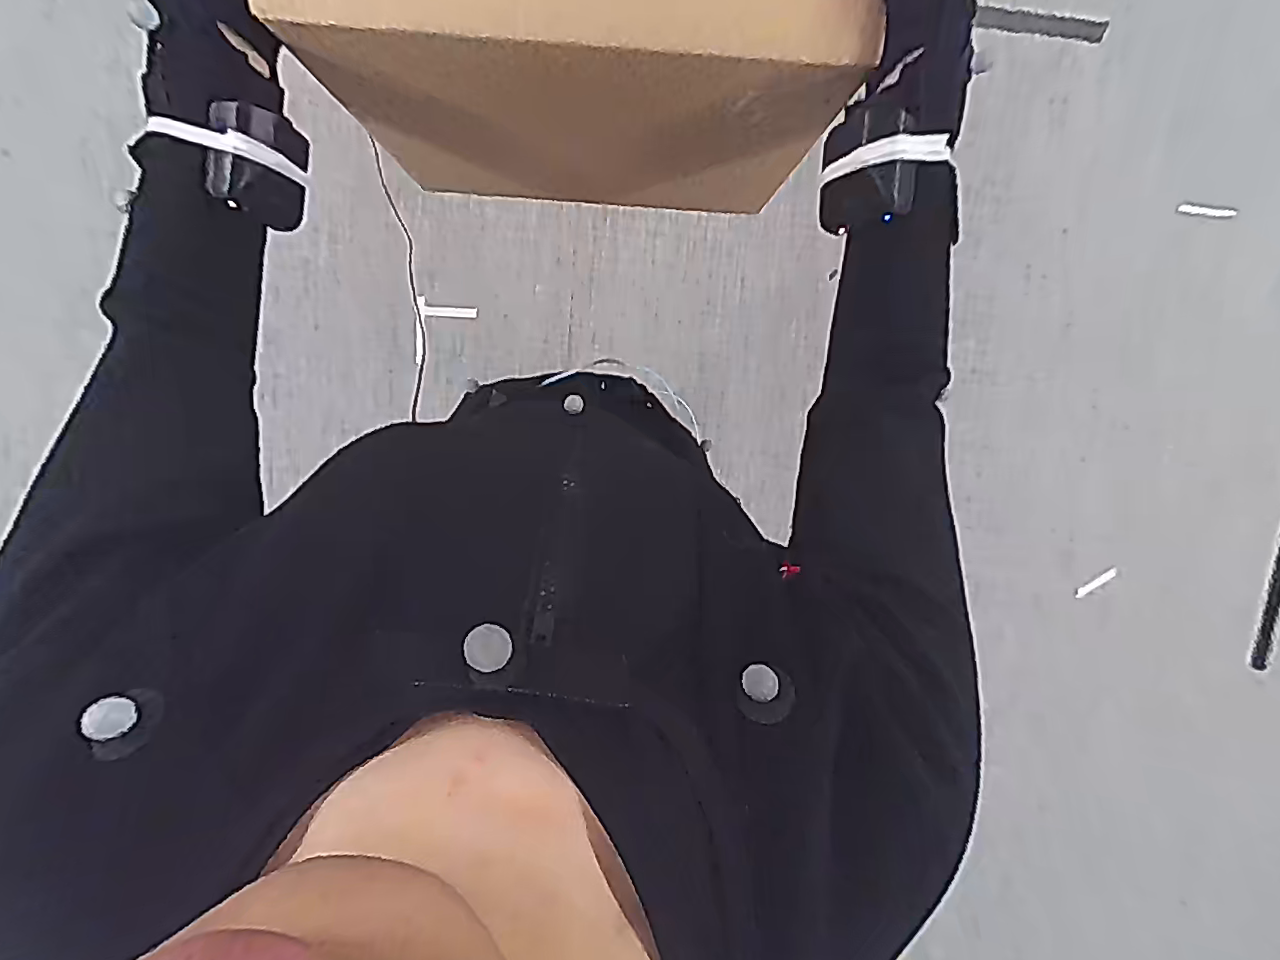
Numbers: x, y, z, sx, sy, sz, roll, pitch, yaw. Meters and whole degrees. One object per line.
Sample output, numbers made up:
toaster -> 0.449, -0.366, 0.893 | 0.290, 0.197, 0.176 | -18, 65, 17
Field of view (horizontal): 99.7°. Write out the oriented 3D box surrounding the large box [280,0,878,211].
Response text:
large box -> -0.040, -0.461, 0.486 | 0.408, 0.320, 0.320 | 2, 100, -3
